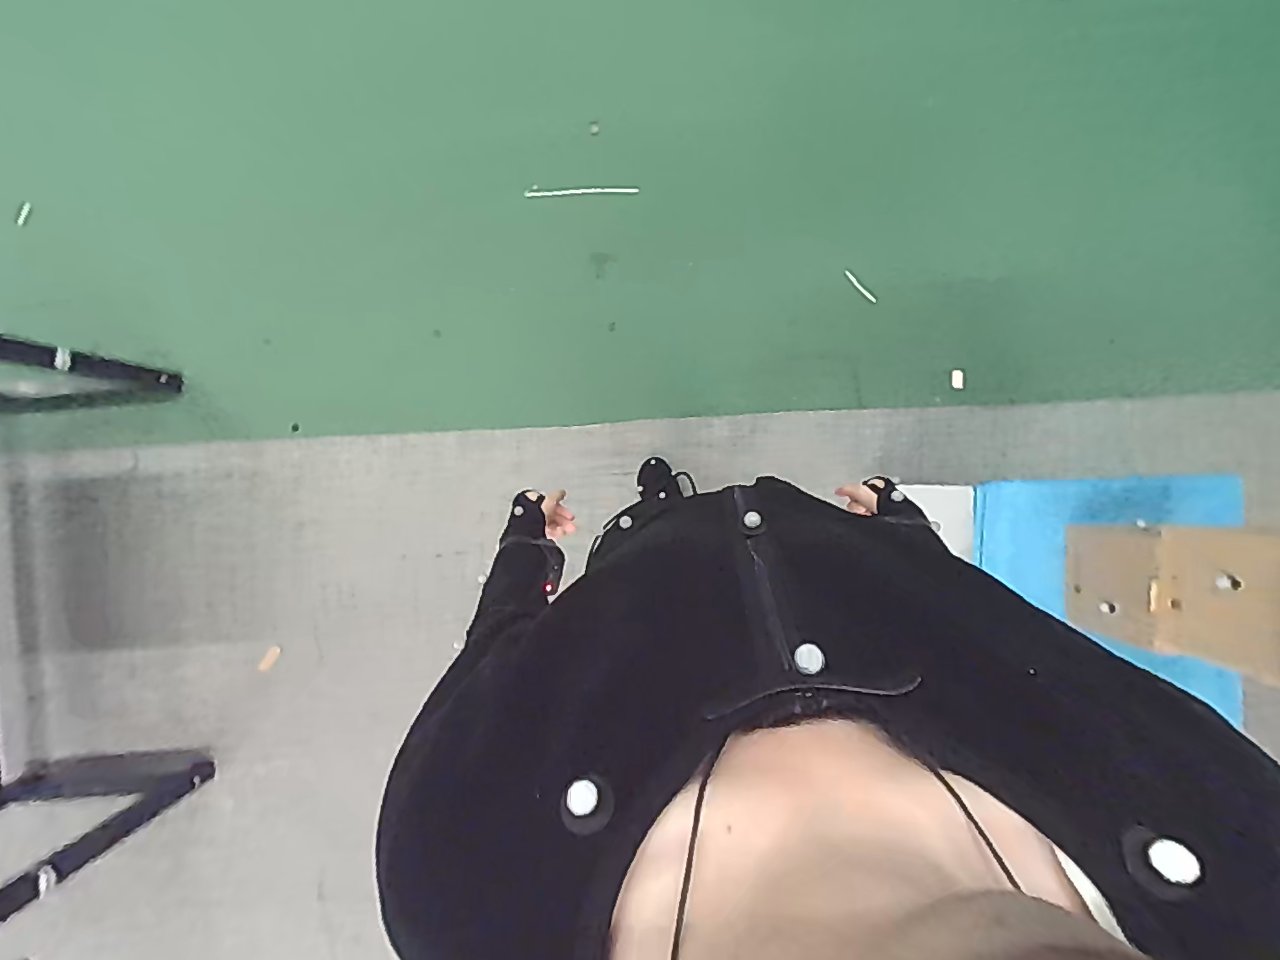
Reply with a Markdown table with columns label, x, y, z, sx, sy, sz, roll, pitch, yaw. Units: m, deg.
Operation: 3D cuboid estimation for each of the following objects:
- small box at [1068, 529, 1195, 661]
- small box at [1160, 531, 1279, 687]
| label | x | y | z | sx | sy | sz | roll | pitch | yaw |
| --- | --- | --- | --- | --- | --- | --- | --- | --- | --- |
| small box | 0.791 | 0.165 | 0.814 | 0.179 | 0.176 | 0.168 | 0 | 91 | 0 |
| small box | 0.788 | 0.154 | 0.652 | 0.179 | 0.176 | 0.168 | 2 | 91 | 0 |
